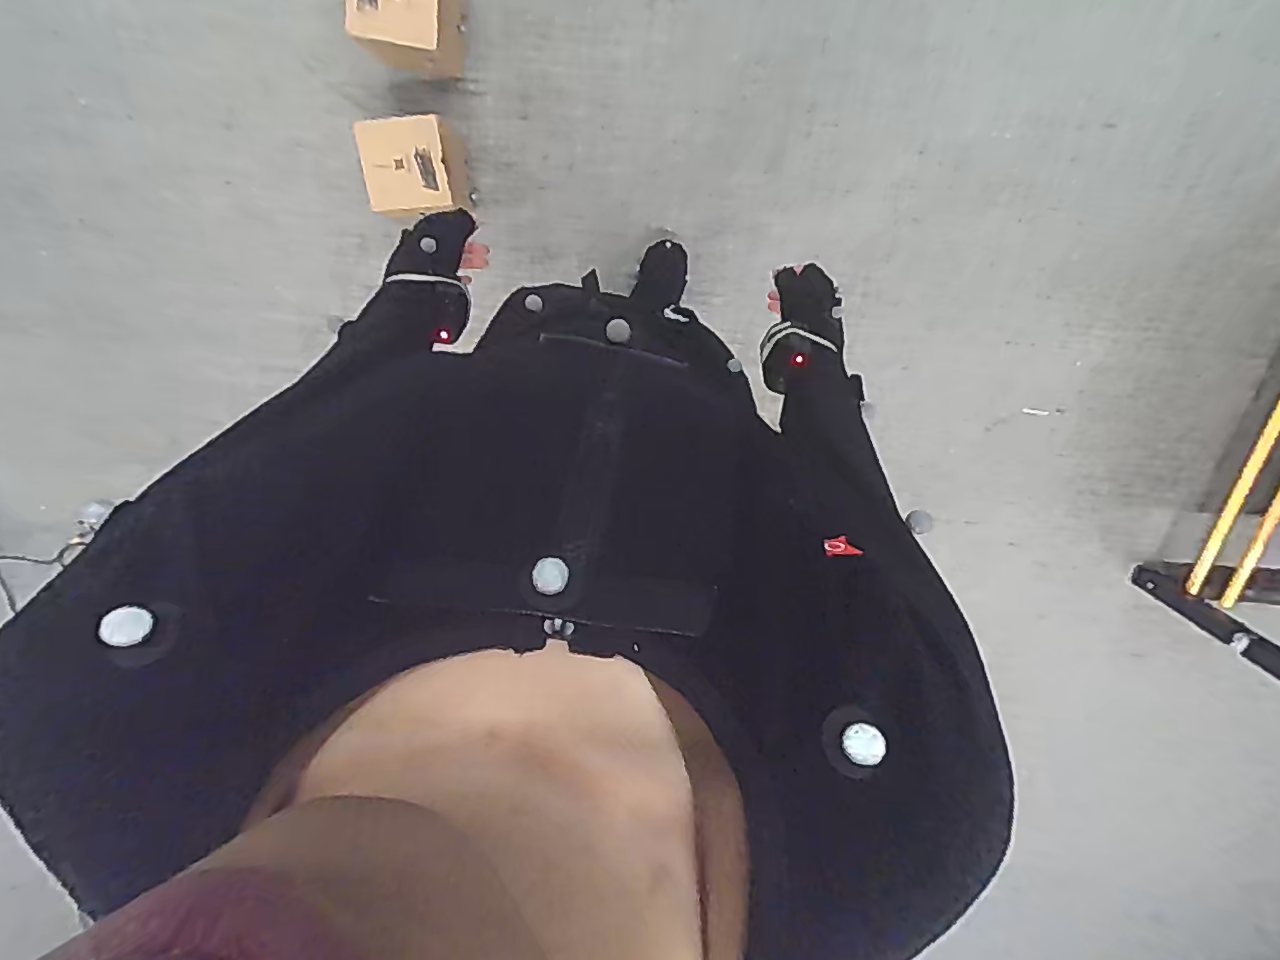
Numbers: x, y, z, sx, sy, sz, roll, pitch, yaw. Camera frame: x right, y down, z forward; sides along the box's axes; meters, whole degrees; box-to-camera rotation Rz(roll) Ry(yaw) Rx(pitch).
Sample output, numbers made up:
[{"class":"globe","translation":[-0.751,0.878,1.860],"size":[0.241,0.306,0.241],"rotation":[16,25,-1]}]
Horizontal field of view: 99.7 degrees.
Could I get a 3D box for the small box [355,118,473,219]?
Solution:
[{"class":"small box","translation":[-0.479,-0.671,1.180],"size":[0.179,0.176,0.168],"rotation":[-3,111,3]}]
